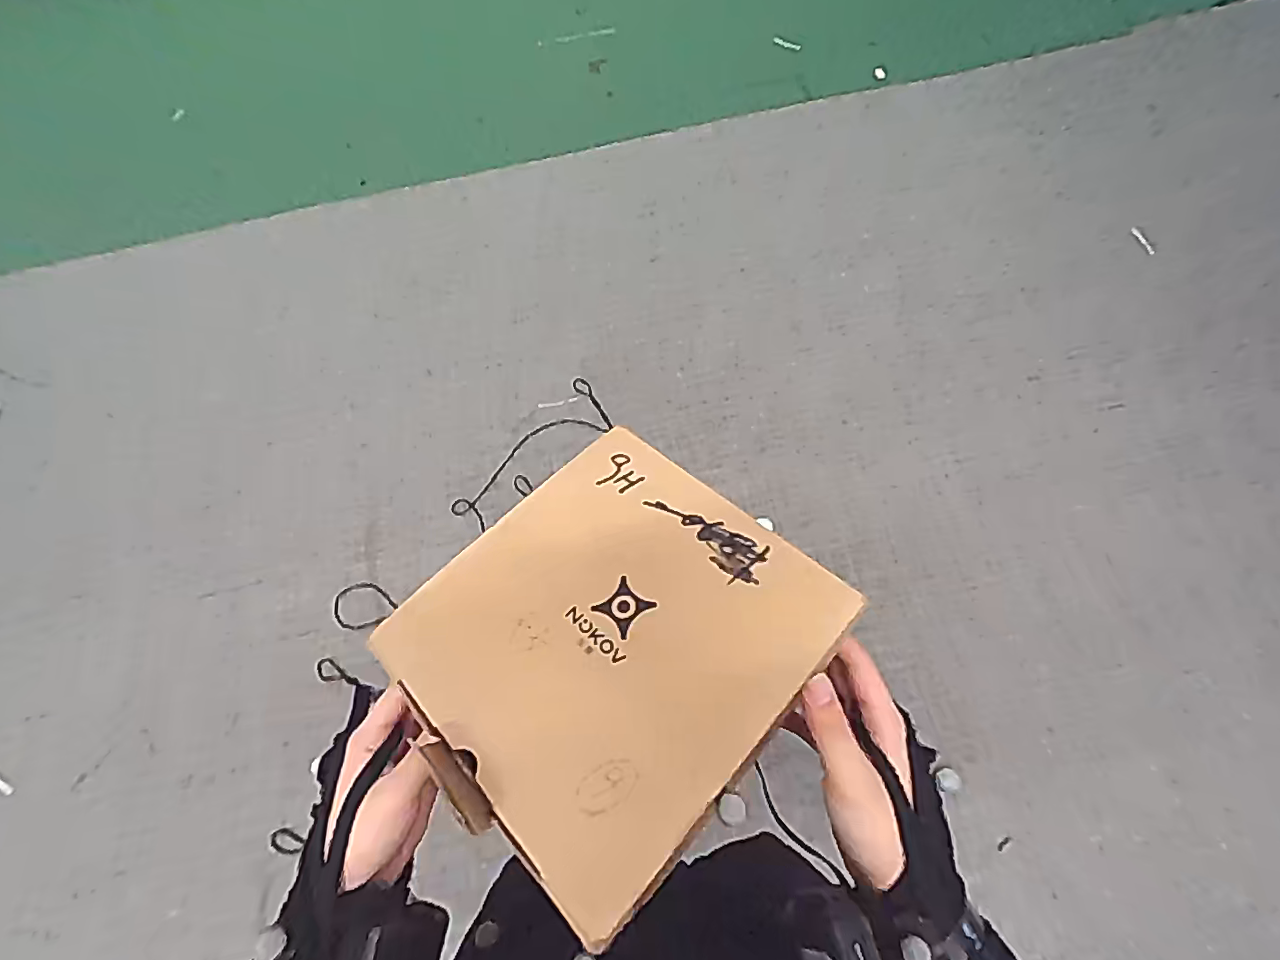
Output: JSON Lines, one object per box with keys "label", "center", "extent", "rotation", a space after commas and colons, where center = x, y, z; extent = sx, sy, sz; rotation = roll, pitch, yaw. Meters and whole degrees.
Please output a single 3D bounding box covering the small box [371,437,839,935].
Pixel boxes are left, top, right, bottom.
{"label": "small box", "center": [-0.010, 0.115, 0.327], "extent": [0.168, 0.176, 0.179], "rotation": [36, 68, 27]}
